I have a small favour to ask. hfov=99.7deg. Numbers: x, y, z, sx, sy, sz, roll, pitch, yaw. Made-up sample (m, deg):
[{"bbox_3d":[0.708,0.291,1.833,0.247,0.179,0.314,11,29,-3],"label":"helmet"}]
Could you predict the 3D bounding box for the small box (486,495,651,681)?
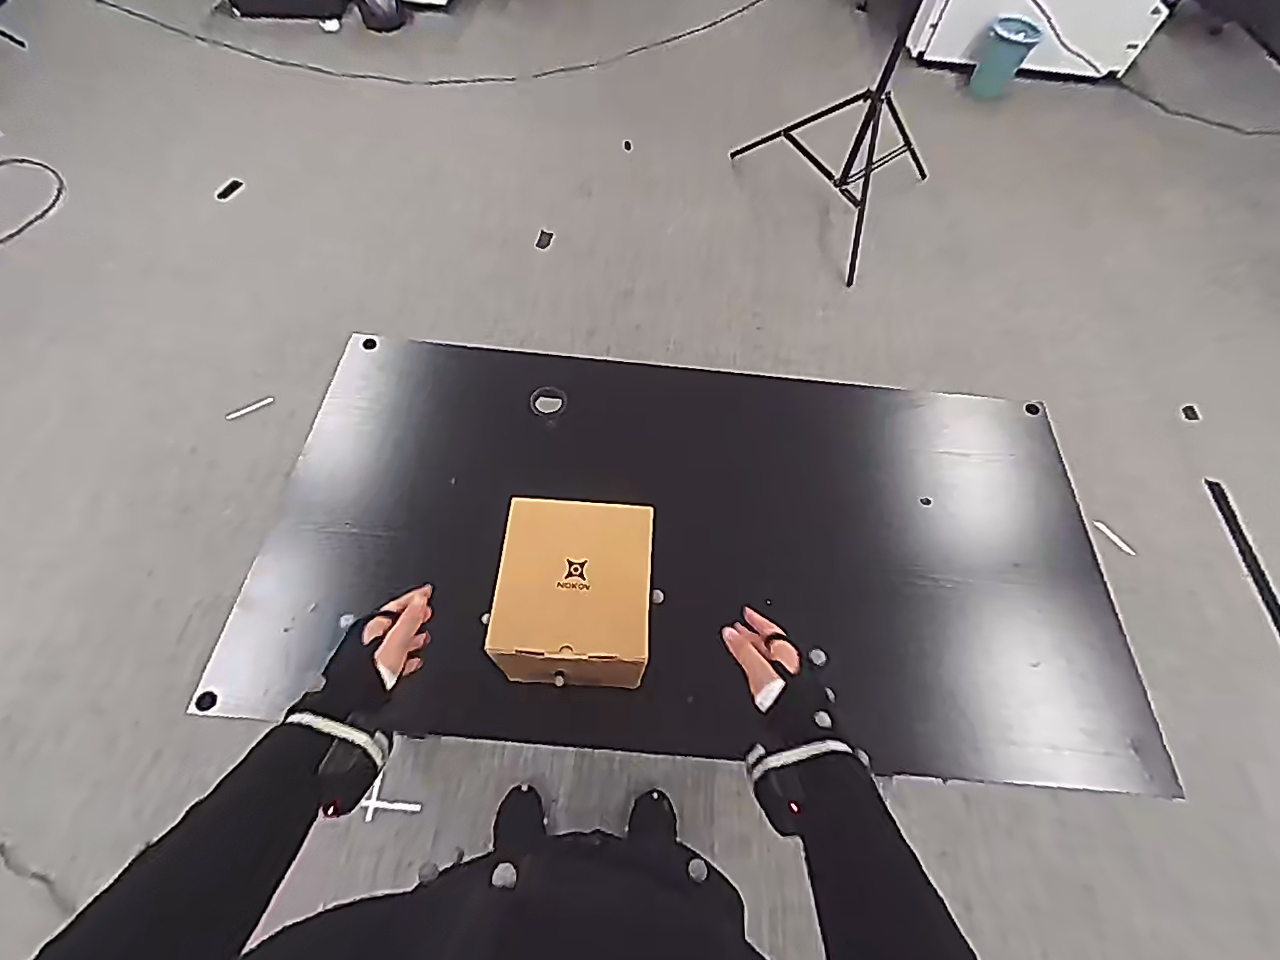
[{"bbox_3d":[-0.078,0.137,0.659,0.168,0.176,0.179,3,62,-2],"label":"small box"}]
